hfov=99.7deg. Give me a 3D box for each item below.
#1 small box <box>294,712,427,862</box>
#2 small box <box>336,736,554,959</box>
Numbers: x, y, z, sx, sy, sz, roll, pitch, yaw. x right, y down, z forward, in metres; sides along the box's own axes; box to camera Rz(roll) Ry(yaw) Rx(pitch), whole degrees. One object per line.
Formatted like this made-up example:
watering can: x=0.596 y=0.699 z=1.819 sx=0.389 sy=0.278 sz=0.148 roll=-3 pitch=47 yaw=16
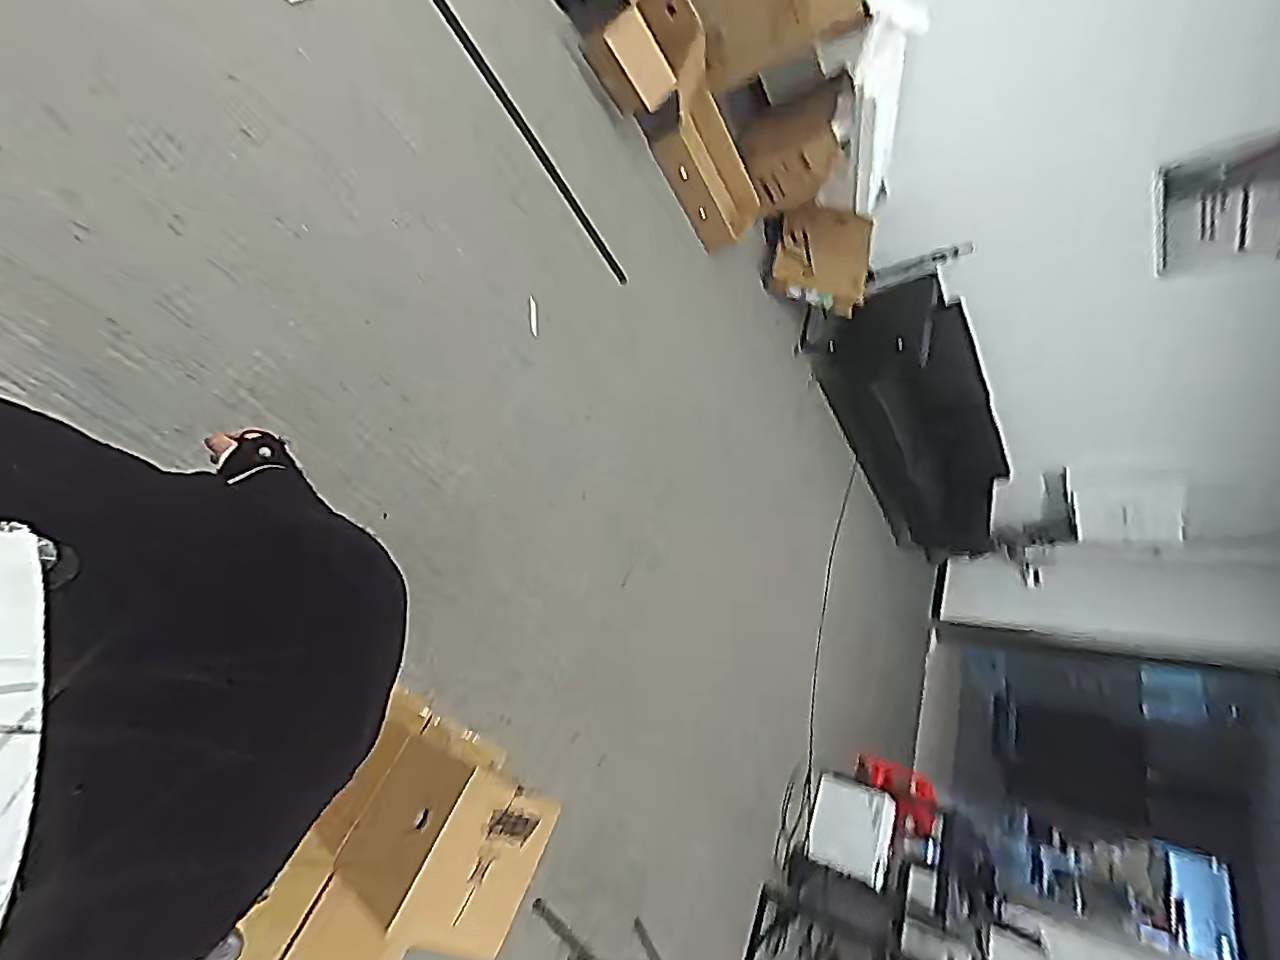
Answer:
small box: x=-0.370 y=0.472 z=0.813 sx=0.179 sy=0.176 sz=0.168 roll=49 pitch=53 yaw=-31
small box: x=-0.251 y=0.461 z=0.699 sx=0.168 sy=0.176 sz=0.179 roll=49 pitch=54 yaw=-32
